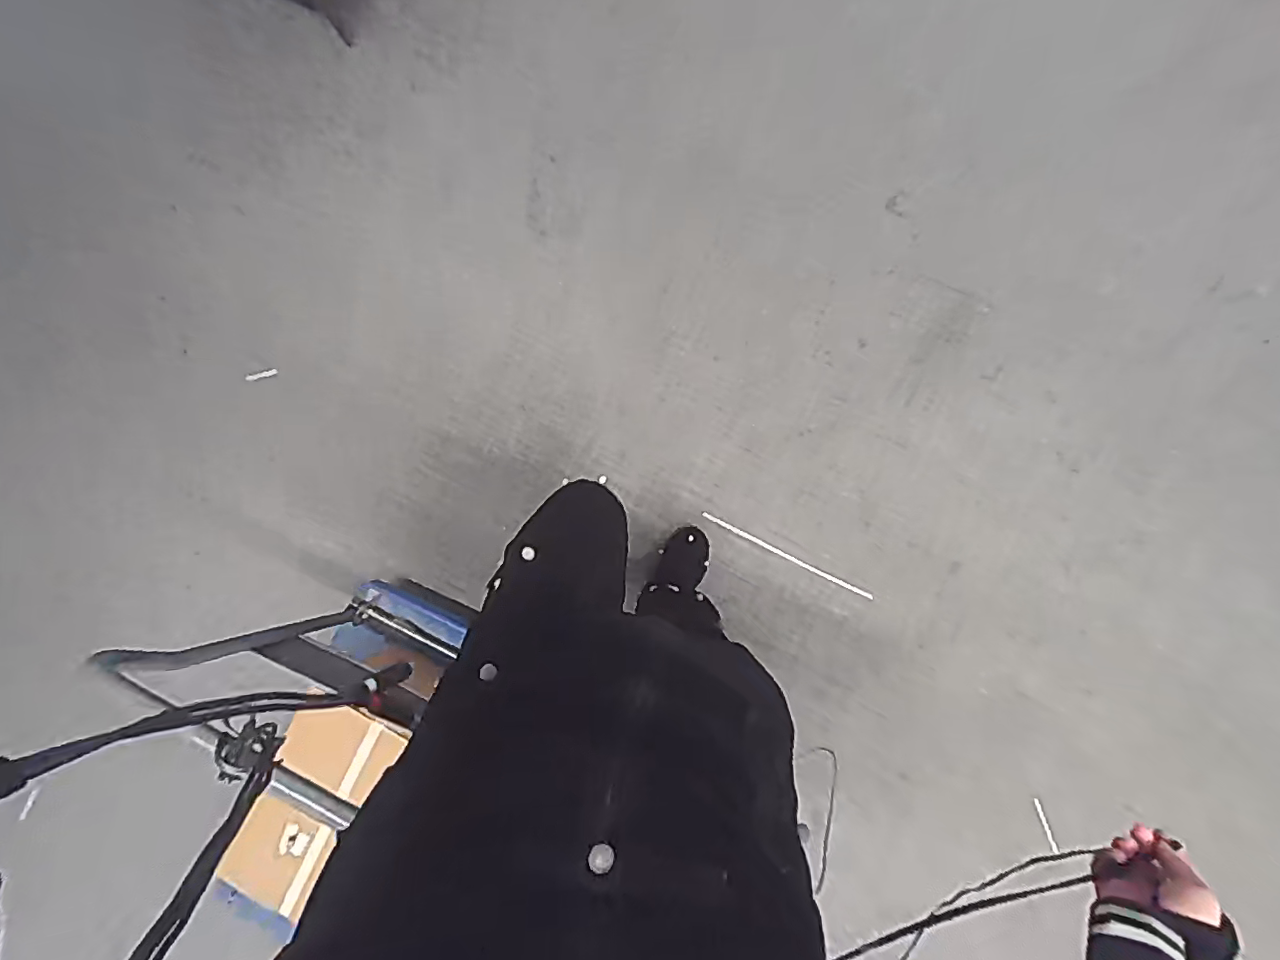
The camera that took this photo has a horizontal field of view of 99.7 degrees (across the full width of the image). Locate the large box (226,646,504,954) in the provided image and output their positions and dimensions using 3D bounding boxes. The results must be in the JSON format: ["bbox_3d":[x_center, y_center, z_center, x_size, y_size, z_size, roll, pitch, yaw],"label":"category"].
[{"bbox_3d":[-0.548,0.634,1.154,0.320,0.320,0.408,27,89,5],"label":"large box"}]
